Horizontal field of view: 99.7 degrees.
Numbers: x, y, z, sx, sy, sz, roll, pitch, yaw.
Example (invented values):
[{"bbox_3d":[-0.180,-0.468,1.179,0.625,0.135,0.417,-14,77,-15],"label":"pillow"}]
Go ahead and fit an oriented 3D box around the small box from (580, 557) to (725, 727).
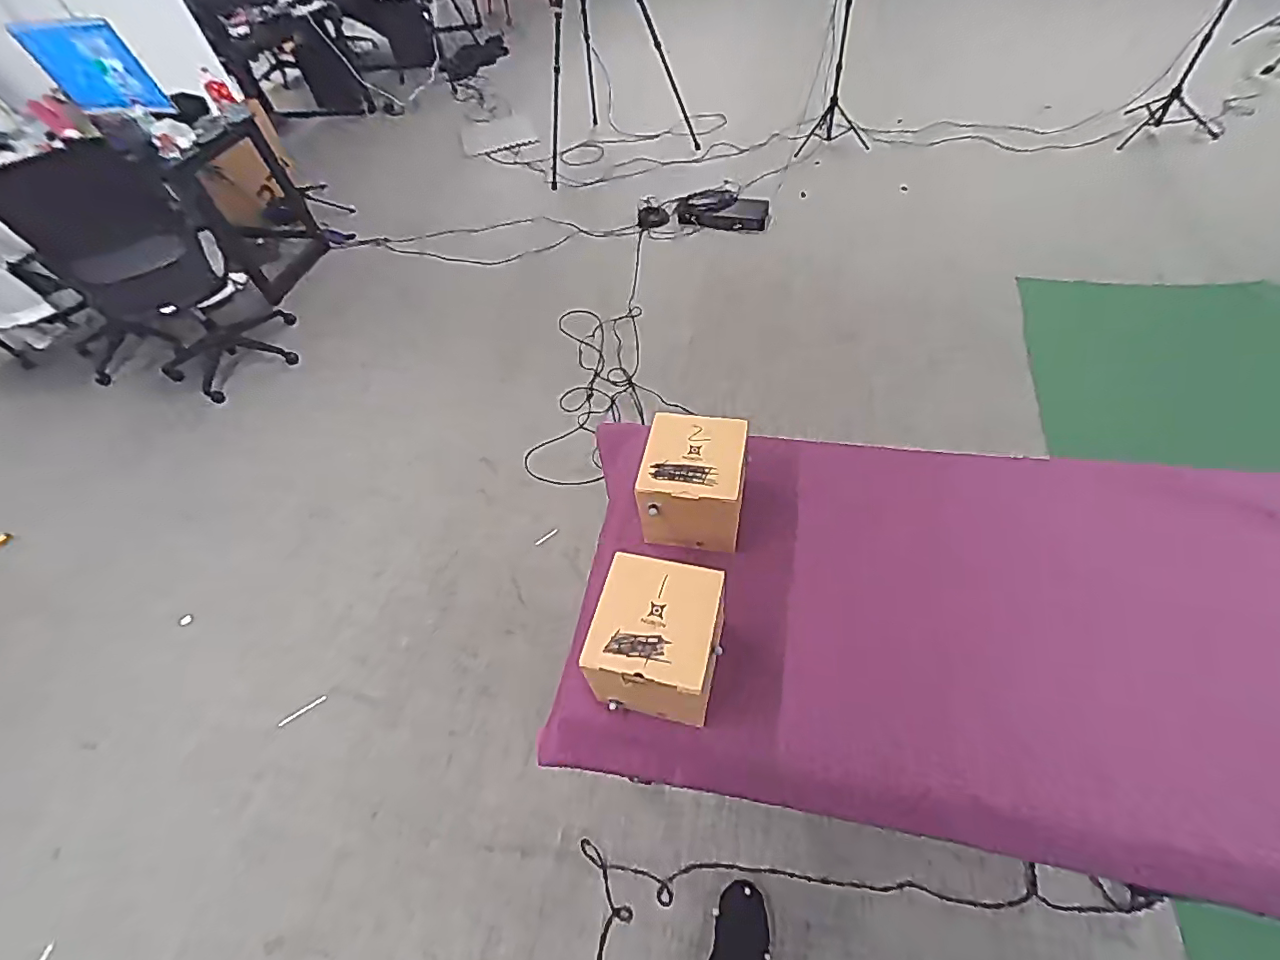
[{"bbox_3d":[0.030,0.241,0.795,0.168,0.176,0.179,9,53,14],"label":"small box"}]
